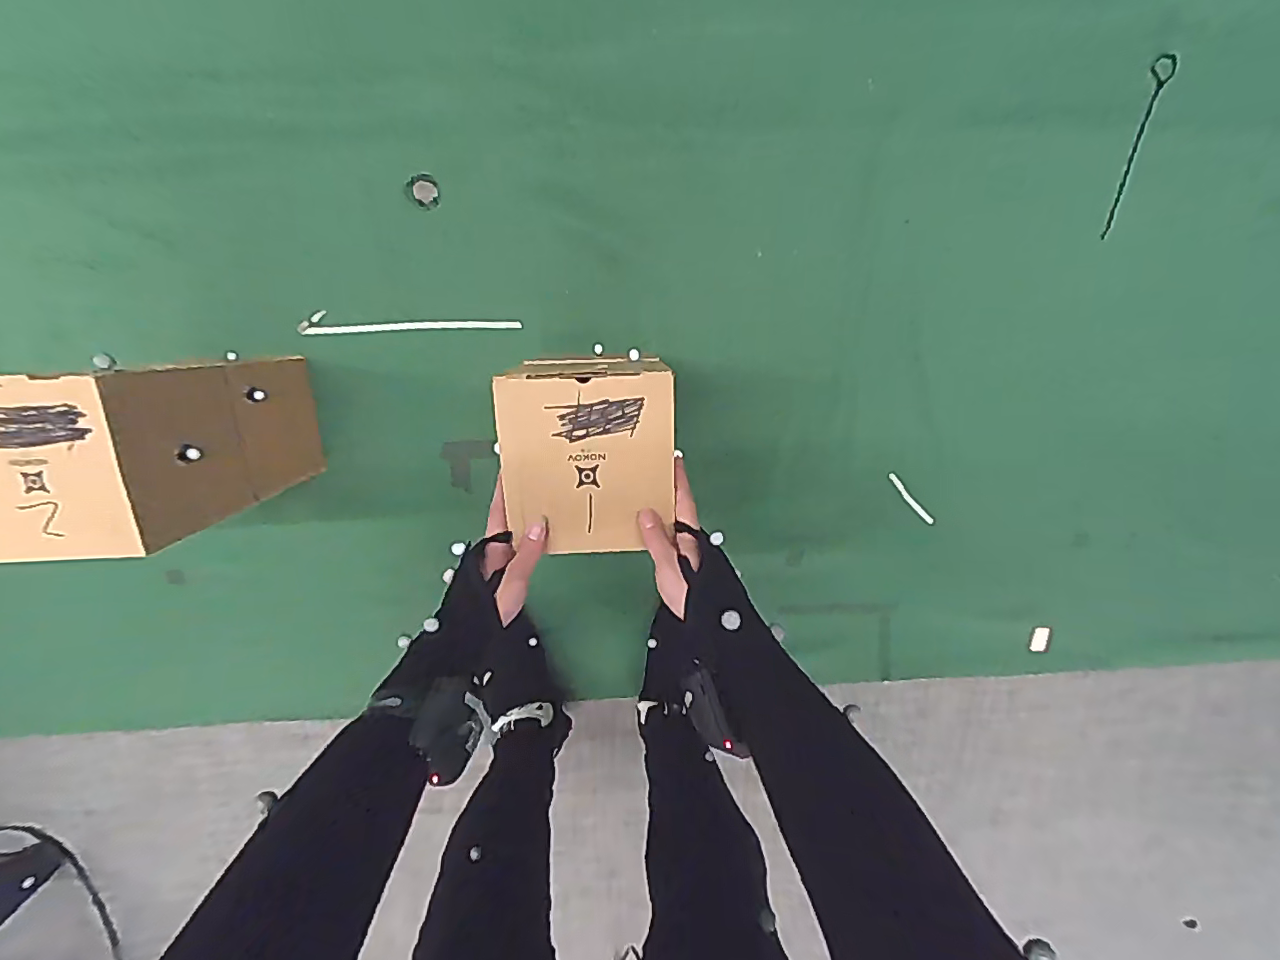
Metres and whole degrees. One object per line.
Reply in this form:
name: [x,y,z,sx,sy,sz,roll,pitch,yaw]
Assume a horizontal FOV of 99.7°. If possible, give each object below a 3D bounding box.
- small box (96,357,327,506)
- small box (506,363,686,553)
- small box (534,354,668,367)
small box: [-0.554,-0.073,0.730,0.168,0.176,0.179,-2,104,-1]
small box: [-0.043,-0.035,0.585,0.168,0.176,0.179,-2,106,-2]
small box: [-0.052,-0.085,0.748,0.168,0.176,0.179,-1,105,-2]
